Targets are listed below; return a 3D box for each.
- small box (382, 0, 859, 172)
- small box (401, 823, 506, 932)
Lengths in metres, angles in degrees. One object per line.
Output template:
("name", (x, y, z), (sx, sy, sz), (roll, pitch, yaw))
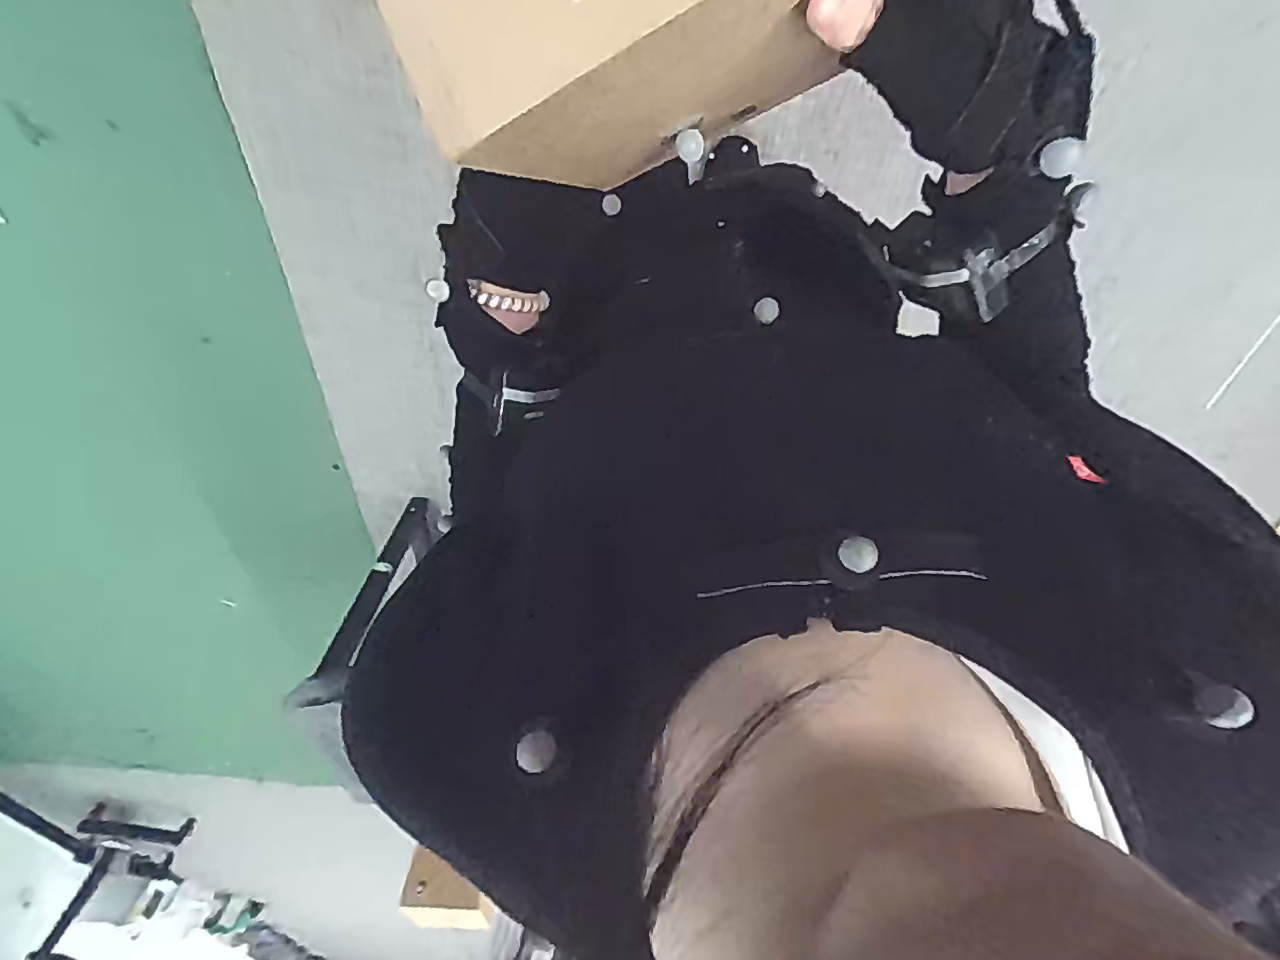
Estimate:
("small box", (-0.009, -0.262, 0.233), (0.168, 0.176, 0.179), (-11, 108, 27))
("small box", (-0.410, 0.901, 1.230), (0.179, 0.176, 0.168), (1, 129, 1))
